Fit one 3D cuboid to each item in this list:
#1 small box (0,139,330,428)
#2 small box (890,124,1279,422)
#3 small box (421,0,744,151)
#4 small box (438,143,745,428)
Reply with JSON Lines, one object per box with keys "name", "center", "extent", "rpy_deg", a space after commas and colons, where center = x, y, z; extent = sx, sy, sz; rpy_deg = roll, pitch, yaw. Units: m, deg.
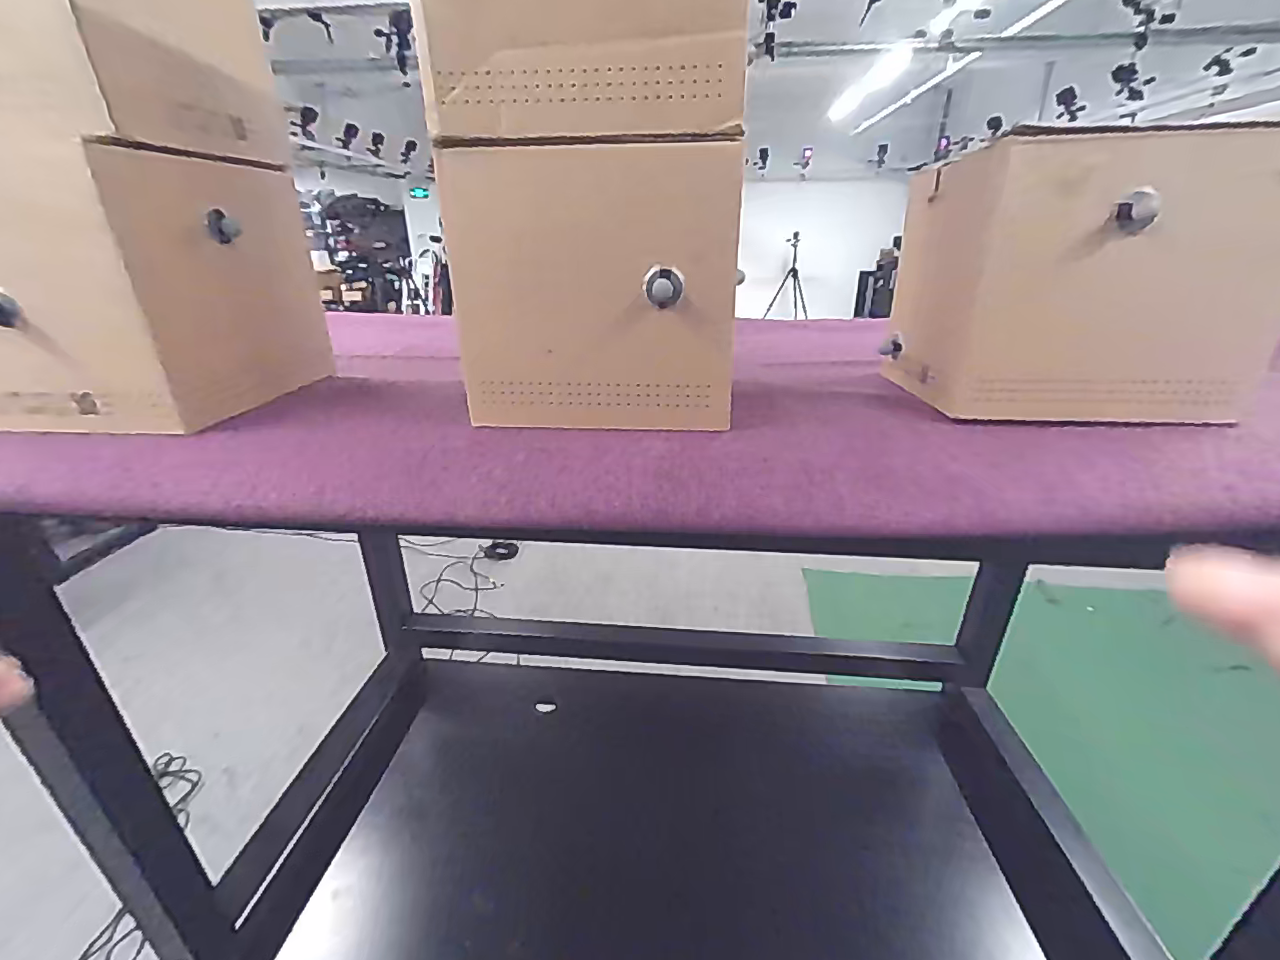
{"name": "small box", "center": [-0.365, -0.142, 0.402], "extent": [0.168, 0.176, 0.179], "rpy_deg": [2, 24, 2]}
{"name": "small box", "center": [0.301, -0.143, 0.402], "extent": [0.179, 0.176, 0.168], "rpy_deg": [2, 21, 6]}
{"name": "small box", "center": [-0.029, -0.290, 0.342], "extent": [0.179, 0.176, 0.168], "rpy_deg": [1, 23, 2]}
{"name": "small box", "center": [-0.022, -0.140, 0.405], "extent": [0.179, 0.176, 0.168], "rpy_deg": [0, 23, 4]}
